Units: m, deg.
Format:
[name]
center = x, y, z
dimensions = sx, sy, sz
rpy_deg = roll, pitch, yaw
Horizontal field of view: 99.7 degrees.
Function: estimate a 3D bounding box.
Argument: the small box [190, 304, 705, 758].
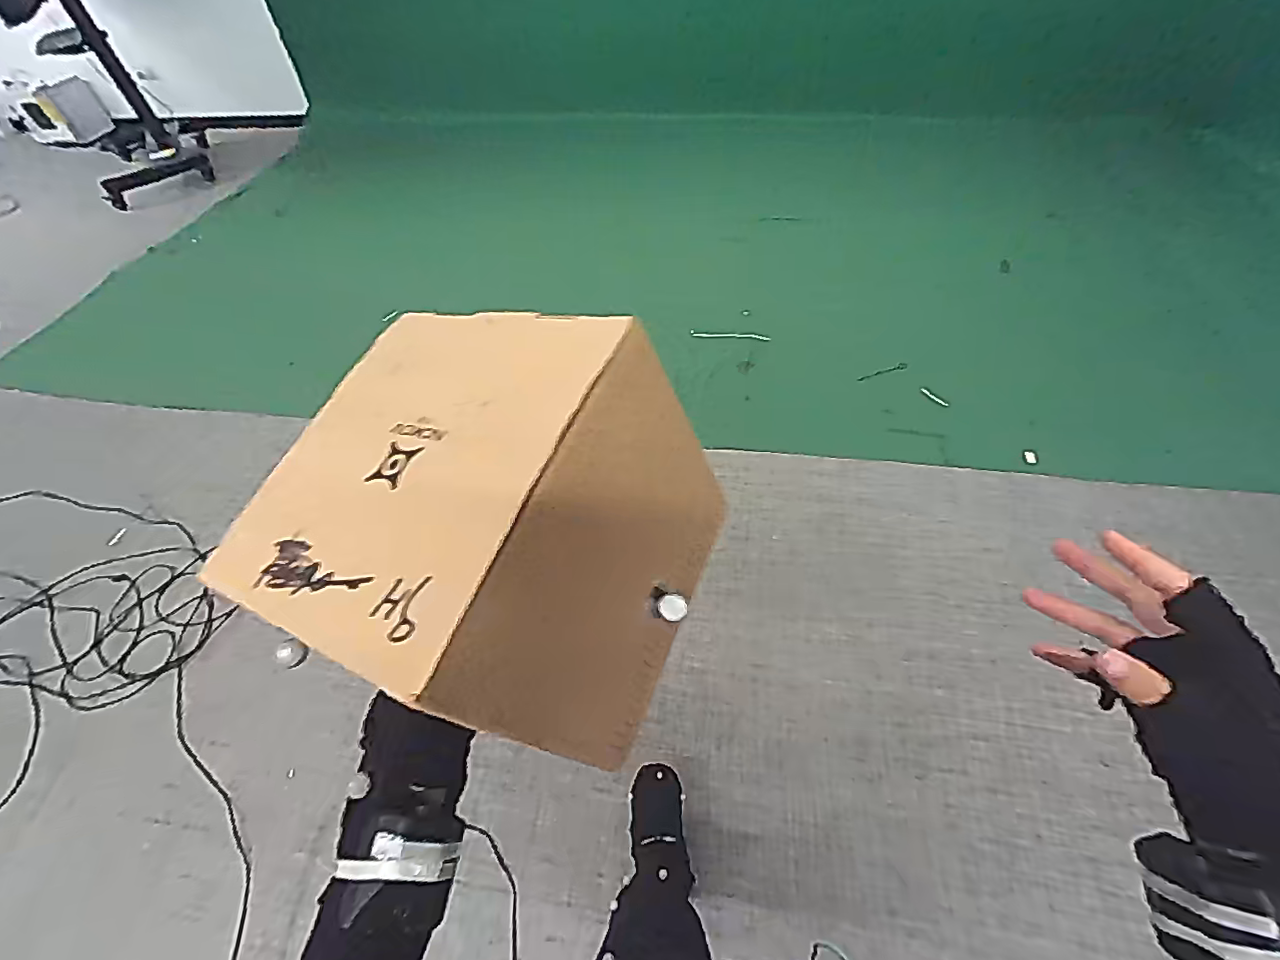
[small box]
center = -0.077, 0.026, 0.303
dimensions = 0.168, 0.176, 0.179
rpy_deg = 11, 62, 31
